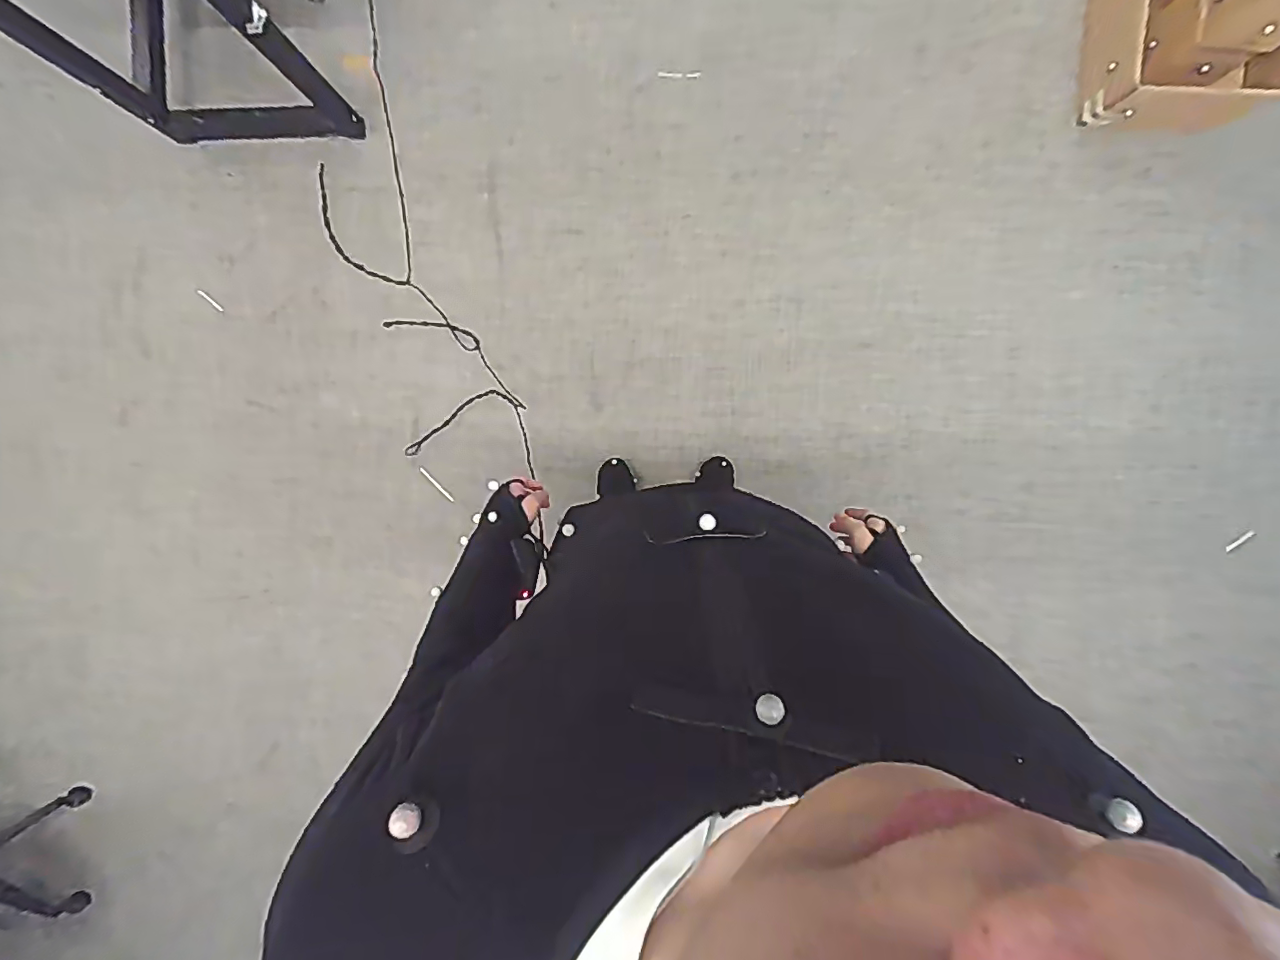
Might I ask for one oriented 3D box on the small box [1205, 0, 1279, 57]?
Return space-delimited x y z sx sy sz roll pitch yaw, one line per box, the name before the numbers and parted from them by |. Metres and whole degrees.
small box | 1.444 -1.103 1.219 0.168 0.176 0.179 6 93 3
